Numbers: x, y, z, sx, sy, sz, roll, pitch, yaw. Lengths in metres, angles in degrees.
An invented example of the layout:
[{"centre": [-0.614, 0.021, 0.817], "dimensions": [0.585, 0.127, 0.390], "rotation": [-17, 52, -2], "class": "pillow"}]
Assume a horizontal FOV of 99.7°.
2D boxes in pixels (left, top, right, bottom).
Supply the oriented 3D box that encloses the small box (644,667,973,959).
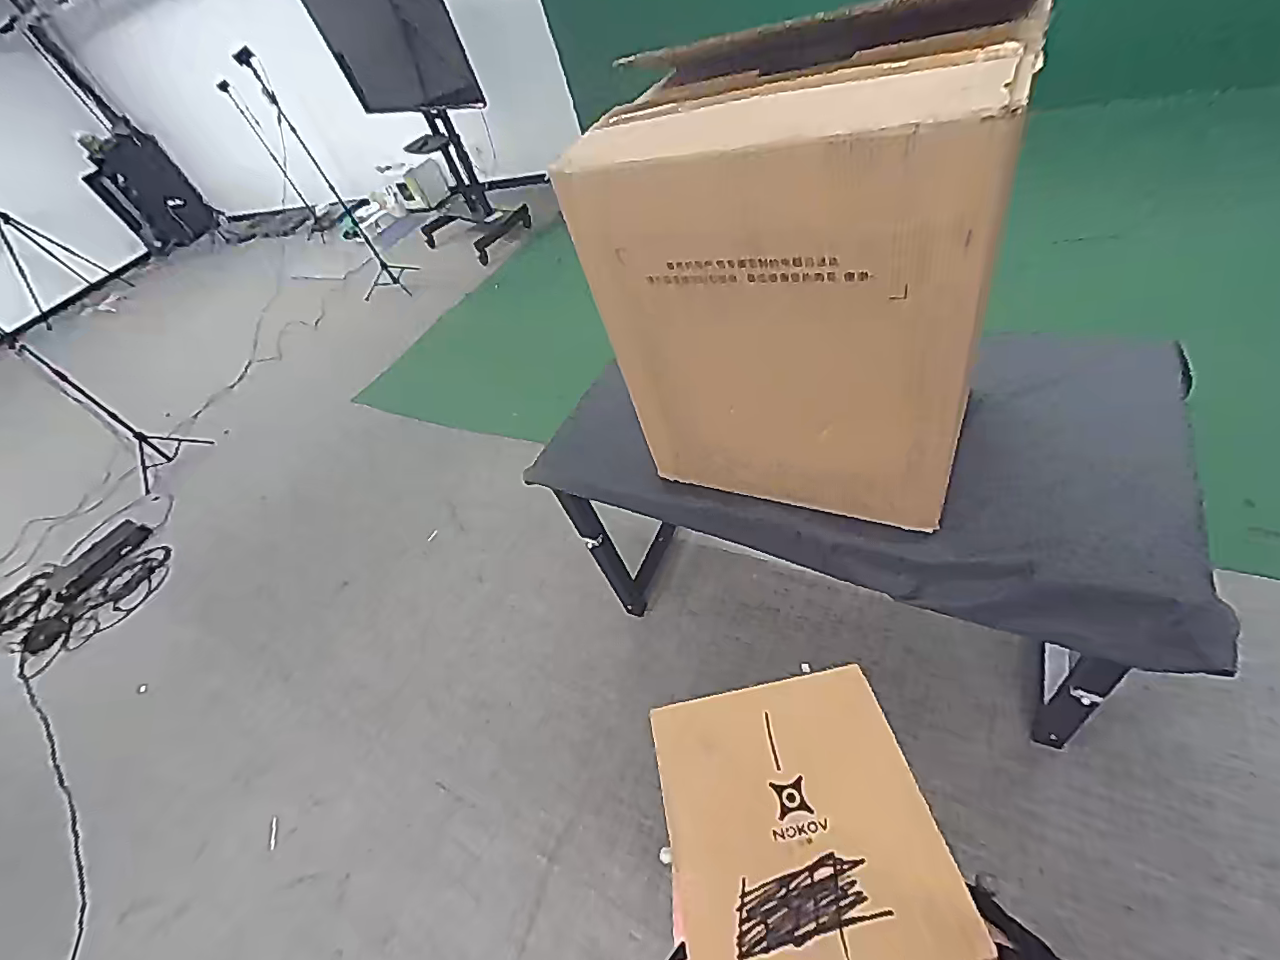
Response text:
[{"centre": [0.106, 0.274, 0.408], "dimensions": [0.168, 0.176, 0.179], "rotation": [-12, 42, 1], "class": "small box"}]
